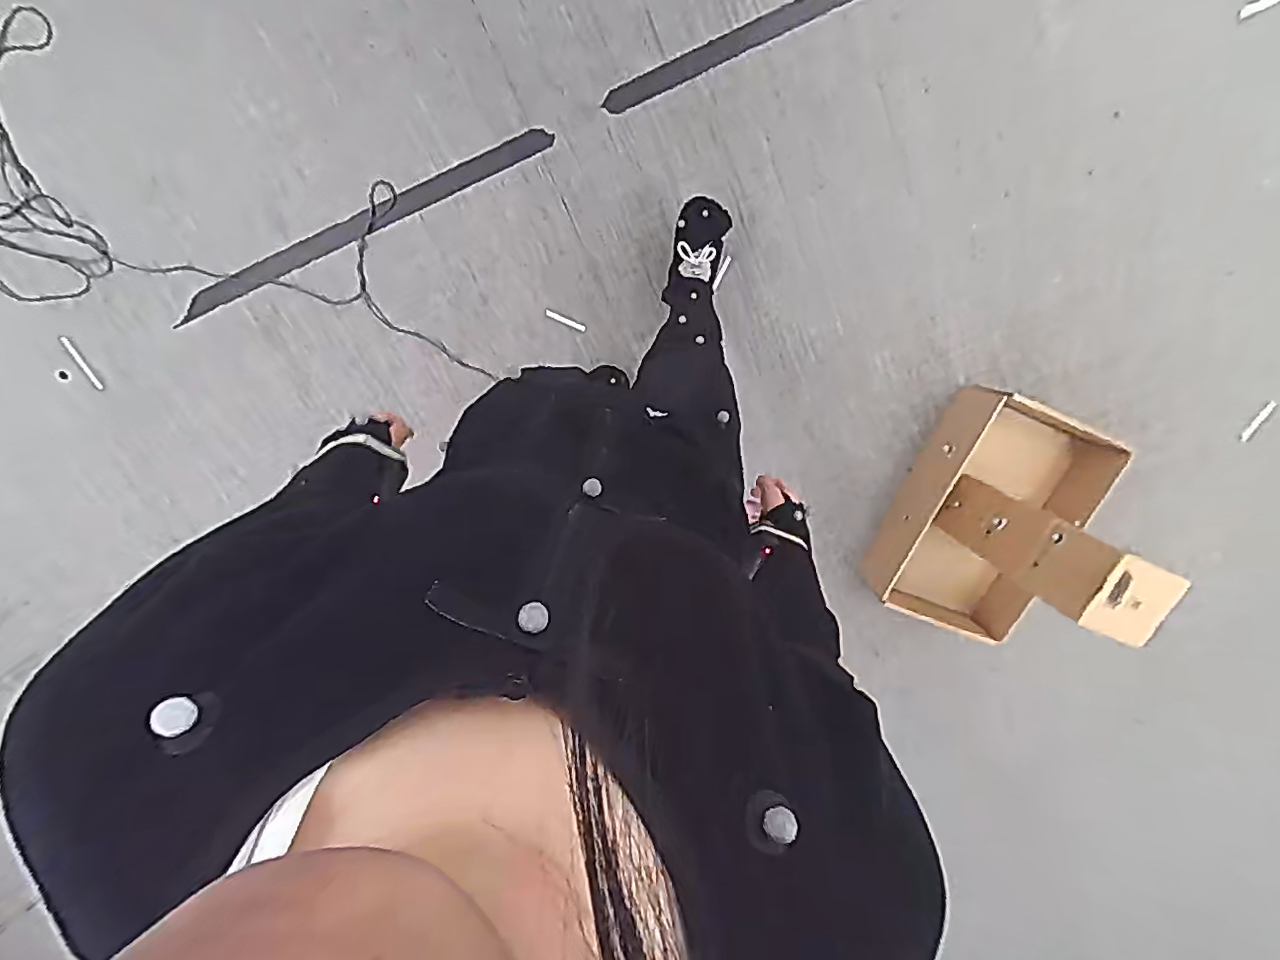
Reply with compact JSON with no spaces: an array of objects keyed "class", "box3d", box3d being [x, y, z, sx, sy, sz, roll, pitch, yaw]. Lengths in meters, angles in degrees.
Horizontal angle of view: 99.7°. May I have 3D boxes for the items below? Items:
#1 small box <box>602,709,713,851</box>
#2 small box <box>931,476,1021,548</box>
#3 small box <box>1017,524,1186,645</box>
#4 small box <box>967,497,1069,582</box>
[{"class":"small box","box3d":[0.029,0.622,1.136,0.168,0.176,0.179,26,105,-10]},{"class":"small box","box3d":[0.937,0.108,1.452,0.179,0.176,0.168,24,105,-10]},{"class":"small box","box3d":[0.959,0.212,1.144,0.179,0.176,0.168,21,106,-11]},{"class":"small box","box3d":[0.946,0.160,1.300,0.179,0.176,0.168,23,105,-9]}]
